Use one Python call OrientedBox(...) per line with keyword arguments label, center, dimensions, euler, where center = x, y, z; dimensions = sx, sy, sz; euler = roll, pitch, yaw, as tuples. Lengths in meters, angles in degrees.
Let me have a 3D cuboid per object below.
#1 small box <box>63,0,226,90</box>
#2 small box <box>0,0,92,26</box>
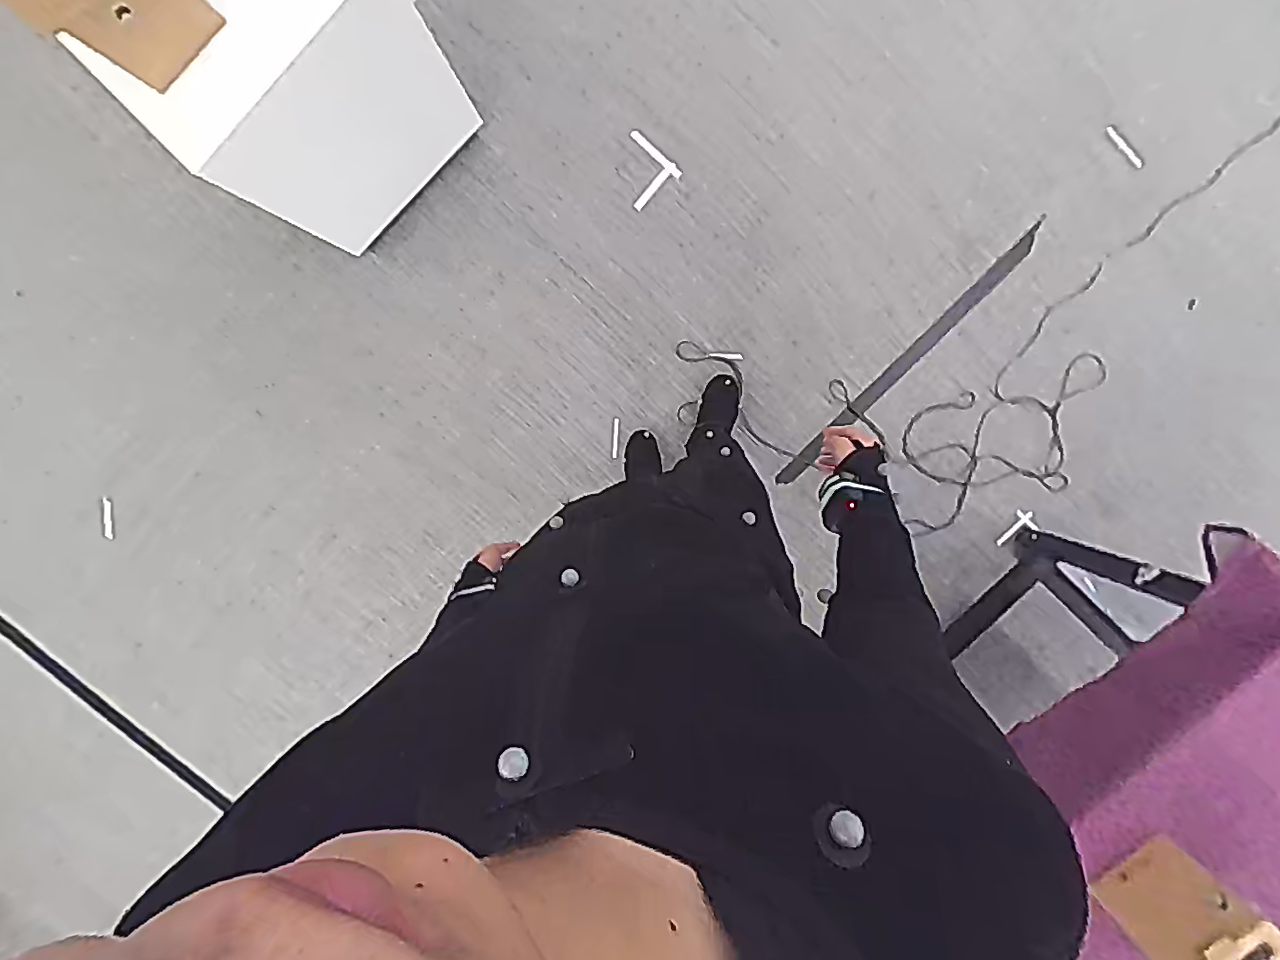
OrientedBox(label="small box", center=(-0.821, -0.779, 0.854), dimensions=(0.179, 0.176, 0.168), euler=(-42, 95, 5))
OrientedBox(label="small box", center=(-0.836, -0.745, 0.695), dimensions=(0.168, 0.176, 0.179), euler=(-40, 95, 6))
